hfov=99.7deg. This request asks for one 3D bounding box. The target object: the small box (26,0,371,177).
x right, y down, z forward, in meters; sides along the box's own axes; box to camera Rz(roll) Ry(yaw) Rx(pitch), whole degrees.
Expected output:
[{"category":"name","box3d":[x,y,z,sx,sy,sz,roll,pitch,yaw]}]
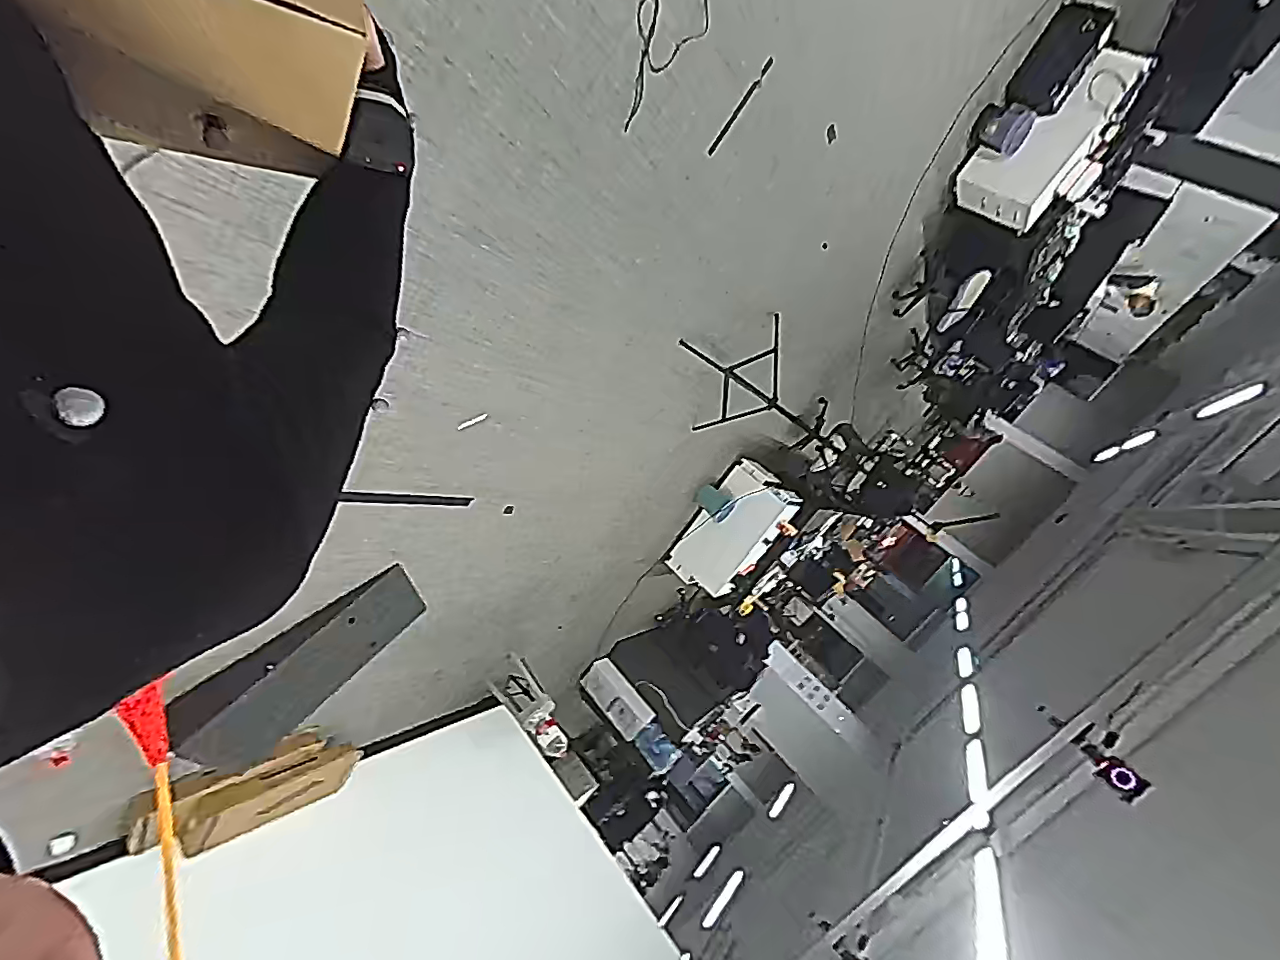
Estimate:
[{"category":"small box","box3d":[-0.318,-0.356,0.393,0.179,0.168,0.176,-9,176,-38]}]
